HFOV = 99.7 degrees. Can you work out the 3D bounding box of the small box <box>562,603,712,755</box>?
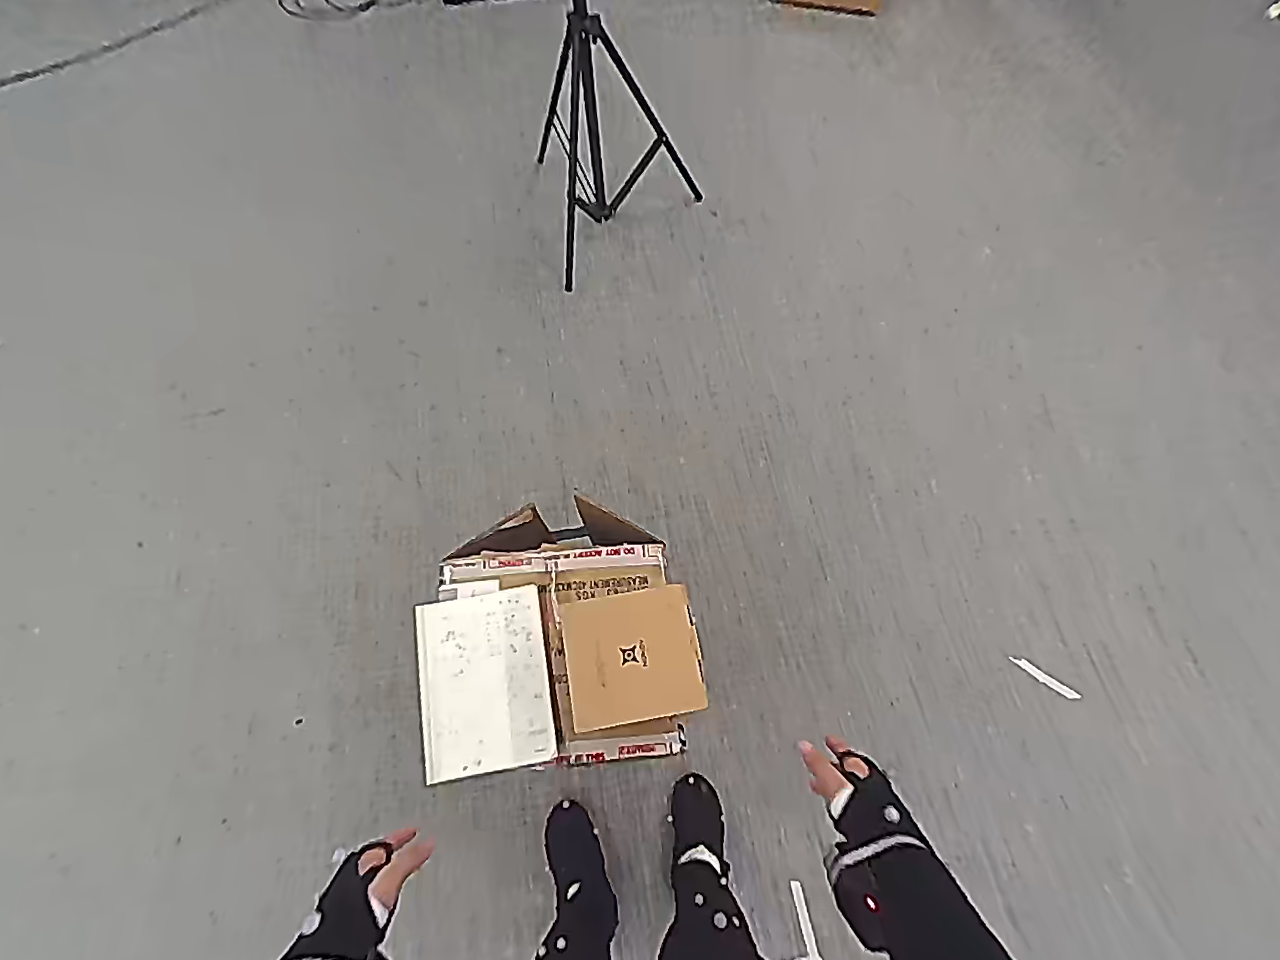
[{"bbox_3d":[-0.008,0.284,0.786,0.179,0.176,0.168,-10,70,-4],"label":"small box"}]
